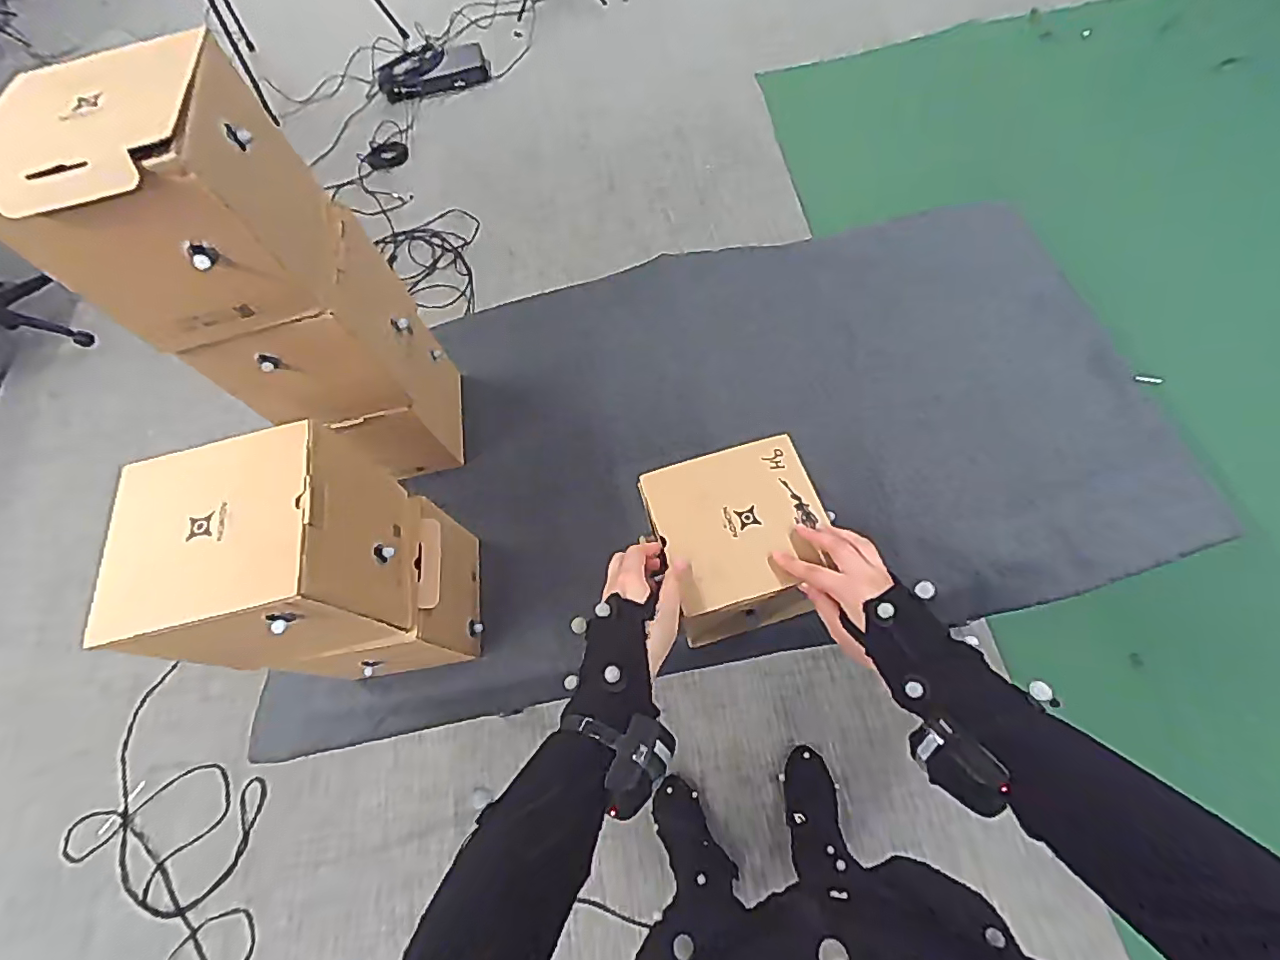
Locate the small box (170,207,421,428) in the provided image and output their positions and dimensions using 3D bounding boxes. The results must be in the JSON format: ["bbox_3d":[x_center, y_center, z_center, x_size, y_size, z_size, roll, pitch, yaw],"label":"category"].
[{"bbox_3d":[-0.384,-0.178,0.637,0.179,0.176,0.168,-11,66,2],"label":"small box"}]

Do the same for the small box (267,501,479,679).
[{"bbox_3d":[-0.308,0.143,0.662,0.179,0.176,0.168,-11,65,4],"label":"small box"}]

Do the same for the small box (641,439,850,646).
[{"bbox_3d":[0.116,0.083,0.630,0.179,0.176,0.168,-18,64,1],"label":"small box"}]

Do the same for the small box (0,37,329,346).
[{"bbox_3d":[-0.411,-0.244,0.491,0.168,0.176,0.179,-15,64,0],"label":"small box"}]

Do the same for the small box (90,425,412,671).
[{"bbox_3d":[-0.344,0.076,0.518,0.179,0.176,0.168,-15,64,1],"label":"small box"}]
